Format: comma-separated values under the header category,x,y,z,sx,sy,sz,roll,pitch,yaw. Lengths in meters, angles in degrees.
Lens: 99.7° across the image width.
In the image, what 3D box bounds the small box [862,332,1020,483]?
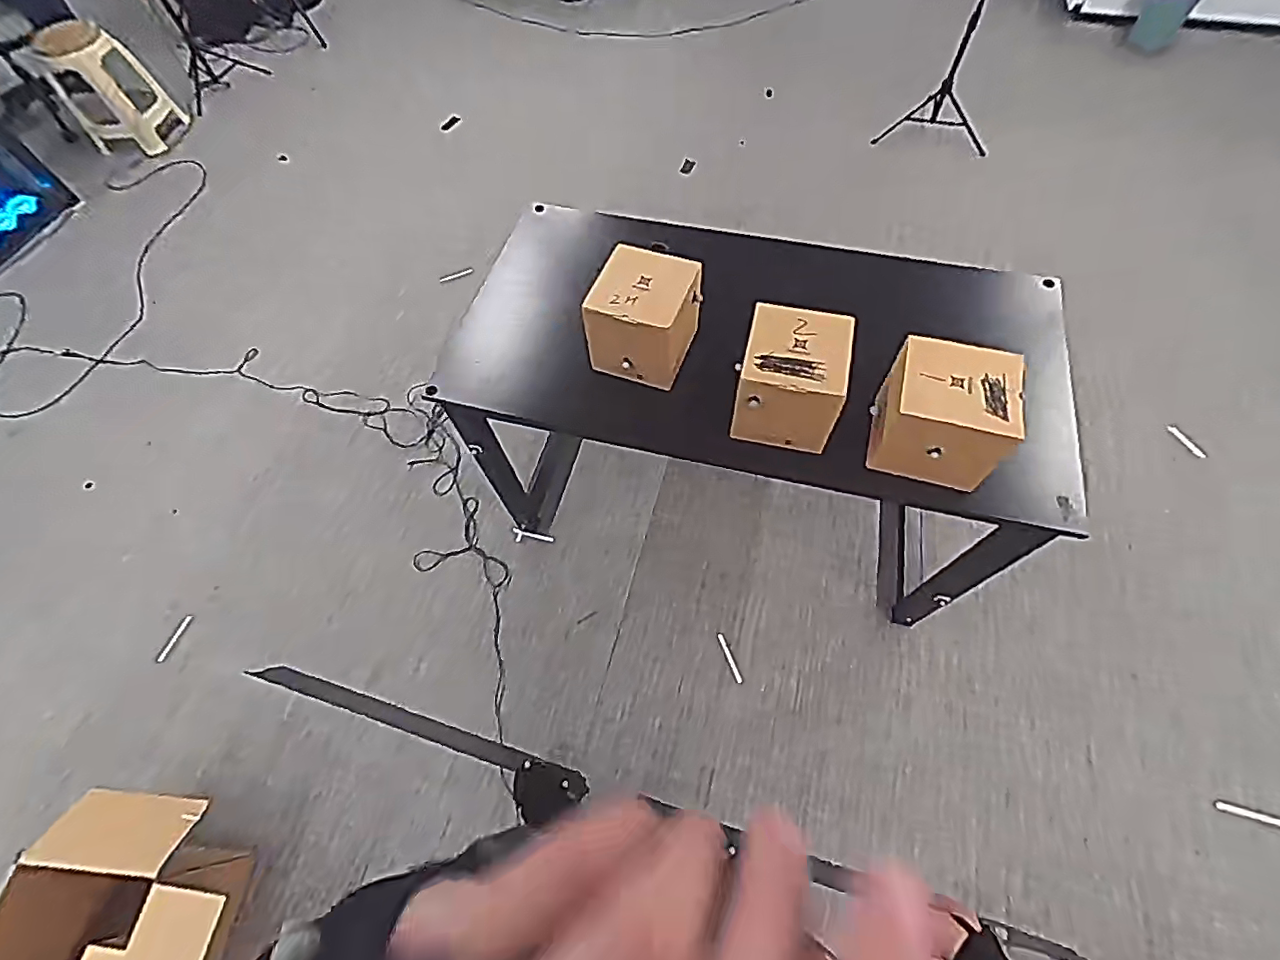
category,x,y,z,sx,sy,sz,roll,pitch,yaw
small box,0.490,-0.112,0.895,0.179,0.176,0.168,14,63,11

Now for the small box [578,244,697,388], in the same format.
category,x,y,z,sx,sy,sz,roll,pitch,yaw
small box,-0.001,-0.307,1.025,0.168,0.176,0.179,18,64,12
